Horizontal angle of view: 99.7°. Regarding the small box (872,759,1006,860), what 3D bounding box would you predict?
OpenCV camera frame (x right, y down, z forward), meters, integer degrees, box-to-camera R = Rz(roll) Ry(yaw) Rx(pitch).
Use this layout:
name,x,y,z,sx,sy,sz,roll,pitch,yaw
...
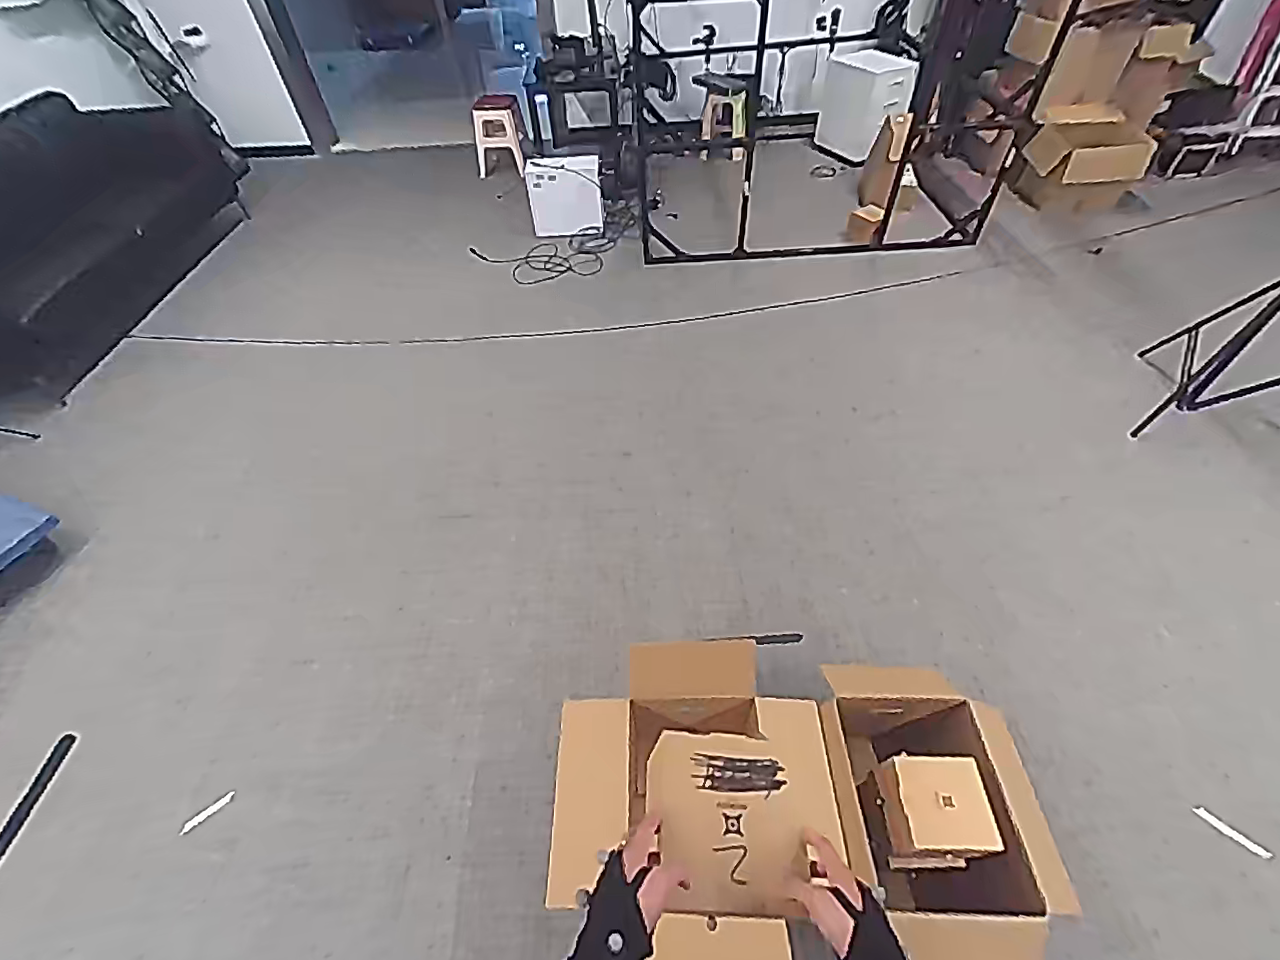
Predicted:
name,x,y,z,sx,sy,sz,roll,pitch,yaw
small box,0.624,0.705,1.155,0.179,0.176,0.168,-1,51,2
